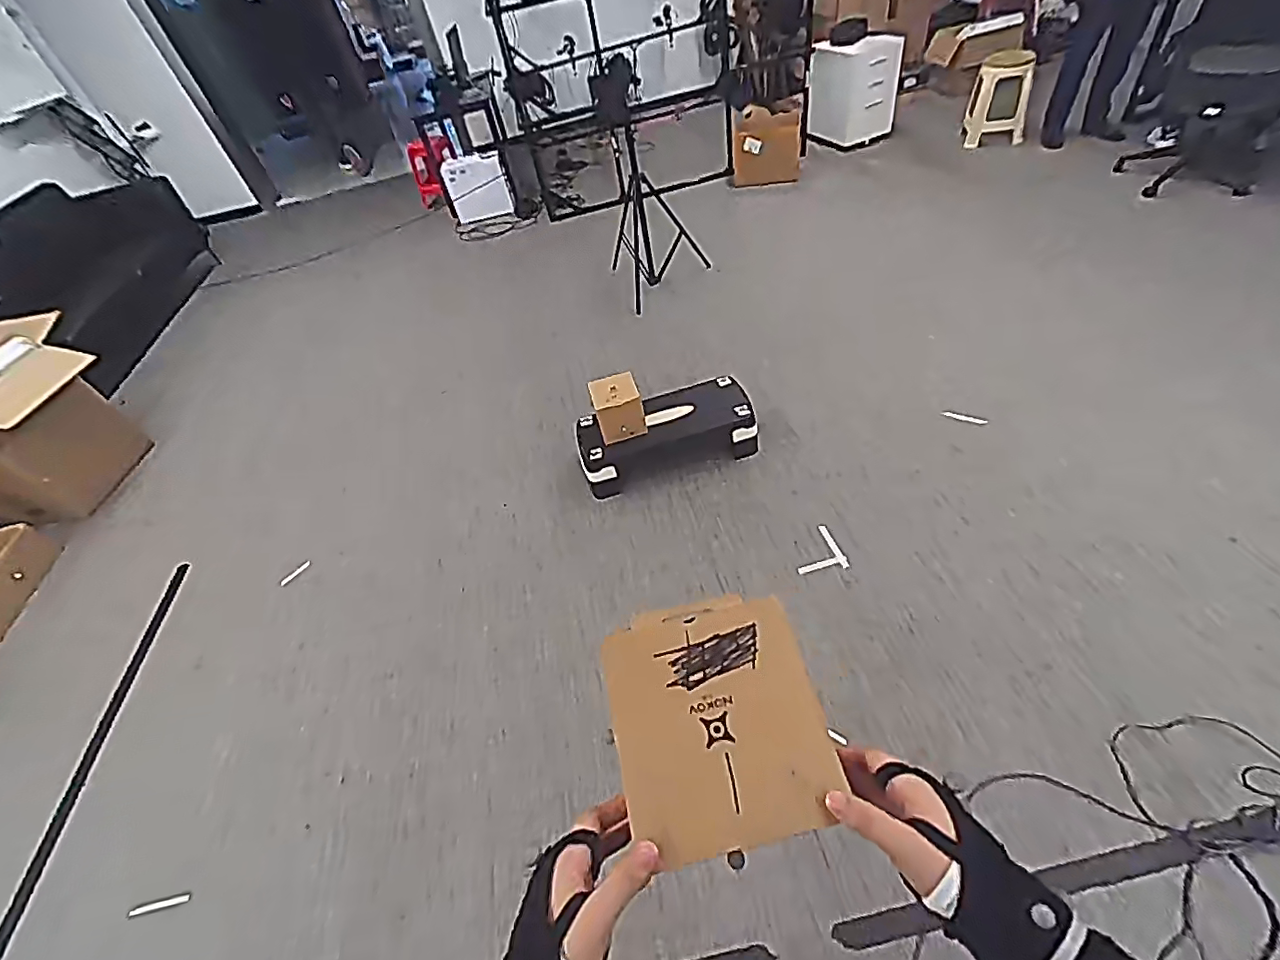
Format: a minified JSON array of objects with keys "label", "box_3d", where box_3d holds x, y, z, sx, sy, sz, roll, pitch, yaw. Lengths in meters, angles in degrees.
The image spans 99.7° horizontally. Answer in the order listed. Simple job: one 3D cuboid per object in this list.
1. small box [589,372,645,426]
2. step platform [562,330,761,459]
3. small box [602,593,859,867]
[{"label":"small box","box_3d":[-0.085,-0.267,1.987,0.168,0.176,0.179,-16,46,-2]},{"label":"step platform","box_3d":[0.077,-0.303,1.934,0.684,0.204,0.286,-16,45,-3]},{"label":"small box","box_3d":[0.067,0.229,0.495,0.168,0.176,0.179,-13,58,-3]}]
